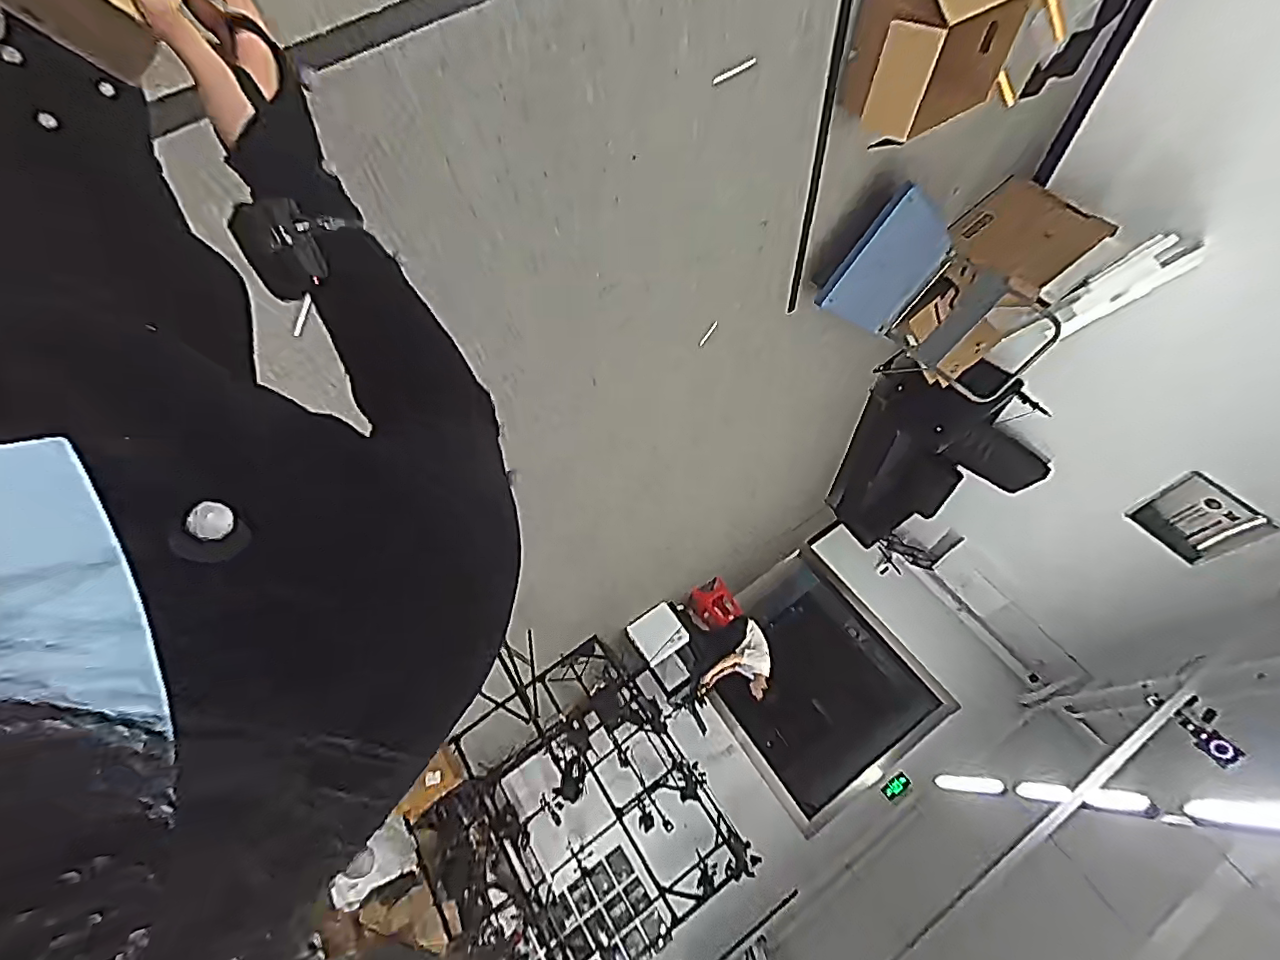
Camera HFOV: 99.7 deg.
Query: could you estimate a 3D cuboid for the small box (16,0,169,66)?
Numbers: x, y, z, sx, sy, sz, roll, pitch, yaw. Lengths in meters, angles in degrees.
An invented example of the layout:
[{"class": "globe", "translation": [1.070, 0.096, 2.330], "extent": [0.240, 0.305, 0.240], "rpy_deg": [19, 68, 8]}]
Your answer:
[{"class": "small box", "translation": [-0.402, -0.427, 0.356], "extent": [0.168, 0.176, 0.179], "rpy_deg": [21, 88, -50]}]
